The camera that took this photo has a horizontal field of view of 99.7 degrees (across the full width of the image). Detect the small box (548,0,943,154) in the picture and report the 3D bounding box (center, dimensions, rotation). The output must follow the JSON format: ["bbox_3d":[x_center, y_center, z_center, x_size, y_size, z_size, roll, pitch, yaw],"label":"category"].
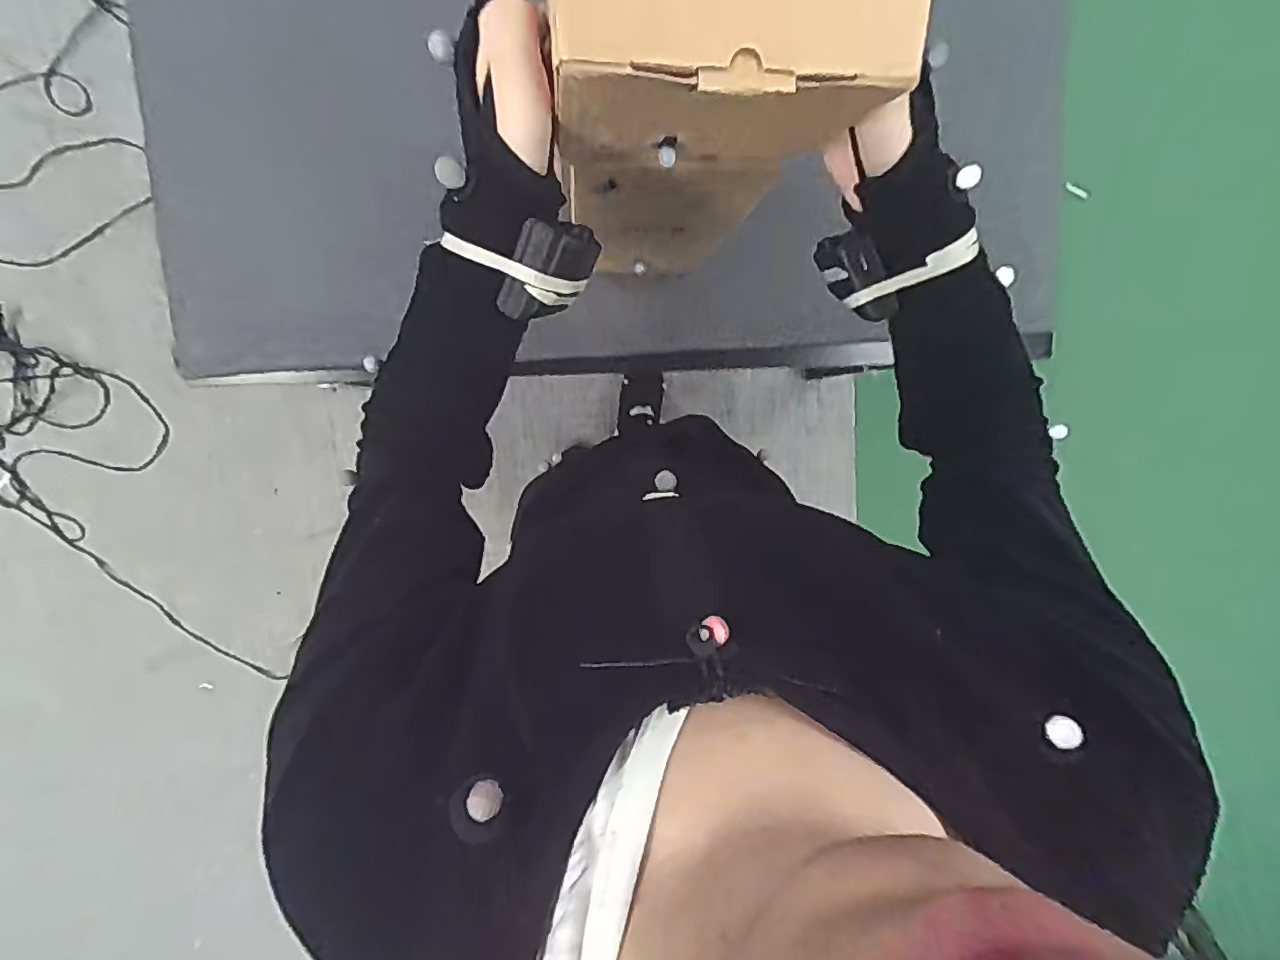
[{"bbox_3d":[0.035,-0.291,0.275,0.168,0.176,0.179,-3,107,-7],"label":"small box"}]

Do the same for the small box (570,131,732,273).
[{"bbox_3d":[0.004,-0.354,0.623,0.168,0.176,0.179,-2,96,-6],"label":"small box"}]
